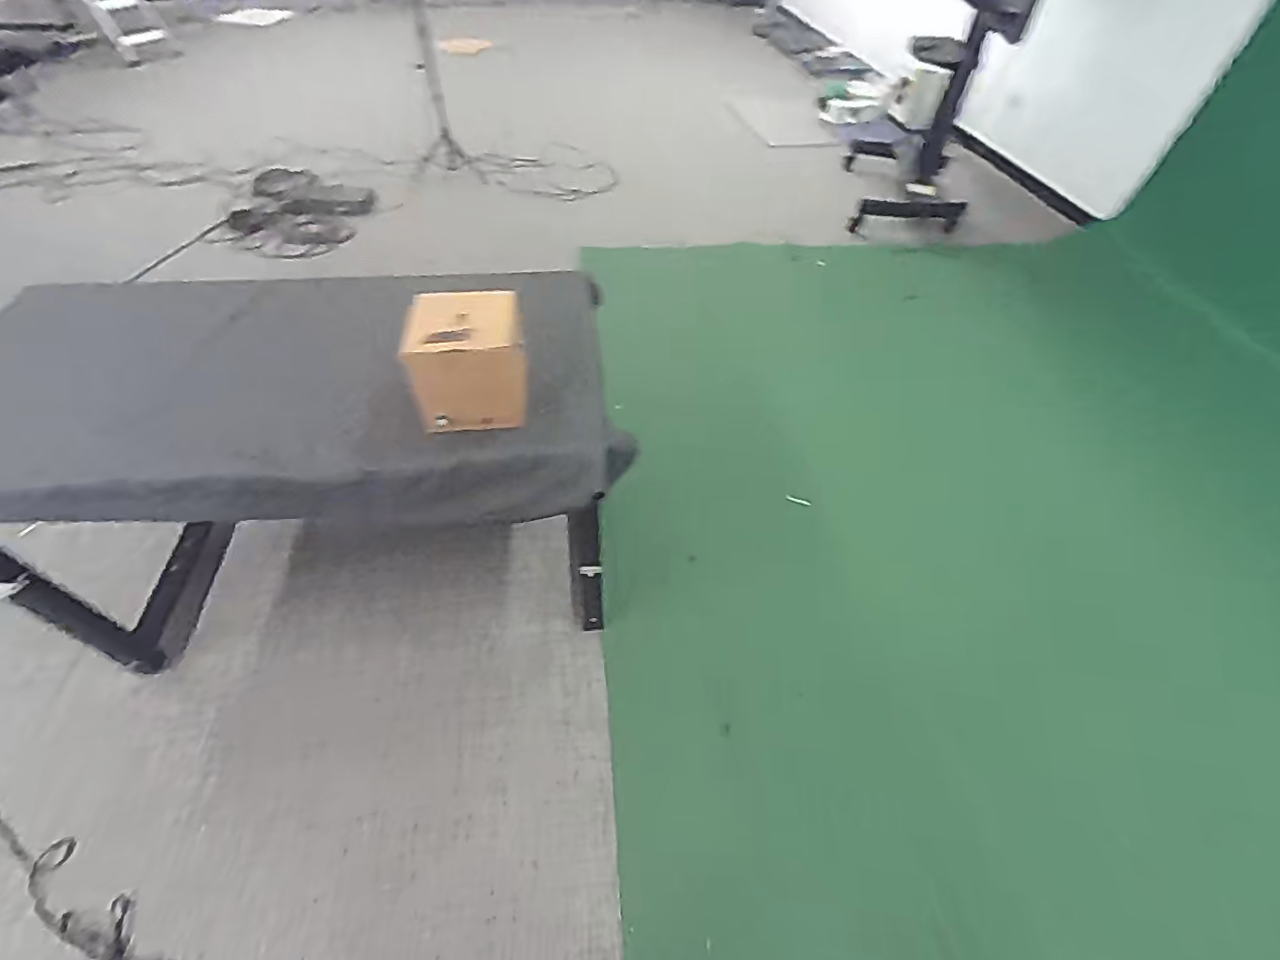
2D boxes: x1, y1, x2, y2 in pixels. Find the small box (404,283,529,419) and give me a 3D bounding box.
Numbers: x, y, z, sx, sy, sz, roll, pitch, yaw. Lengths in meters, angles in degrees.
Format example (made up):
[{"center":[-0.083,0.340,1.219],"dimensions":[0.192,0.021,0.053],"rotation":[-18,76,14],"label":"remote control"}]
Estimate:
[{"center":[-0.287,-0.218,0.936],"dimensions":[0.168,0.176,0.179],"rotation":[-3,49,-5],"label":"small box"}]
